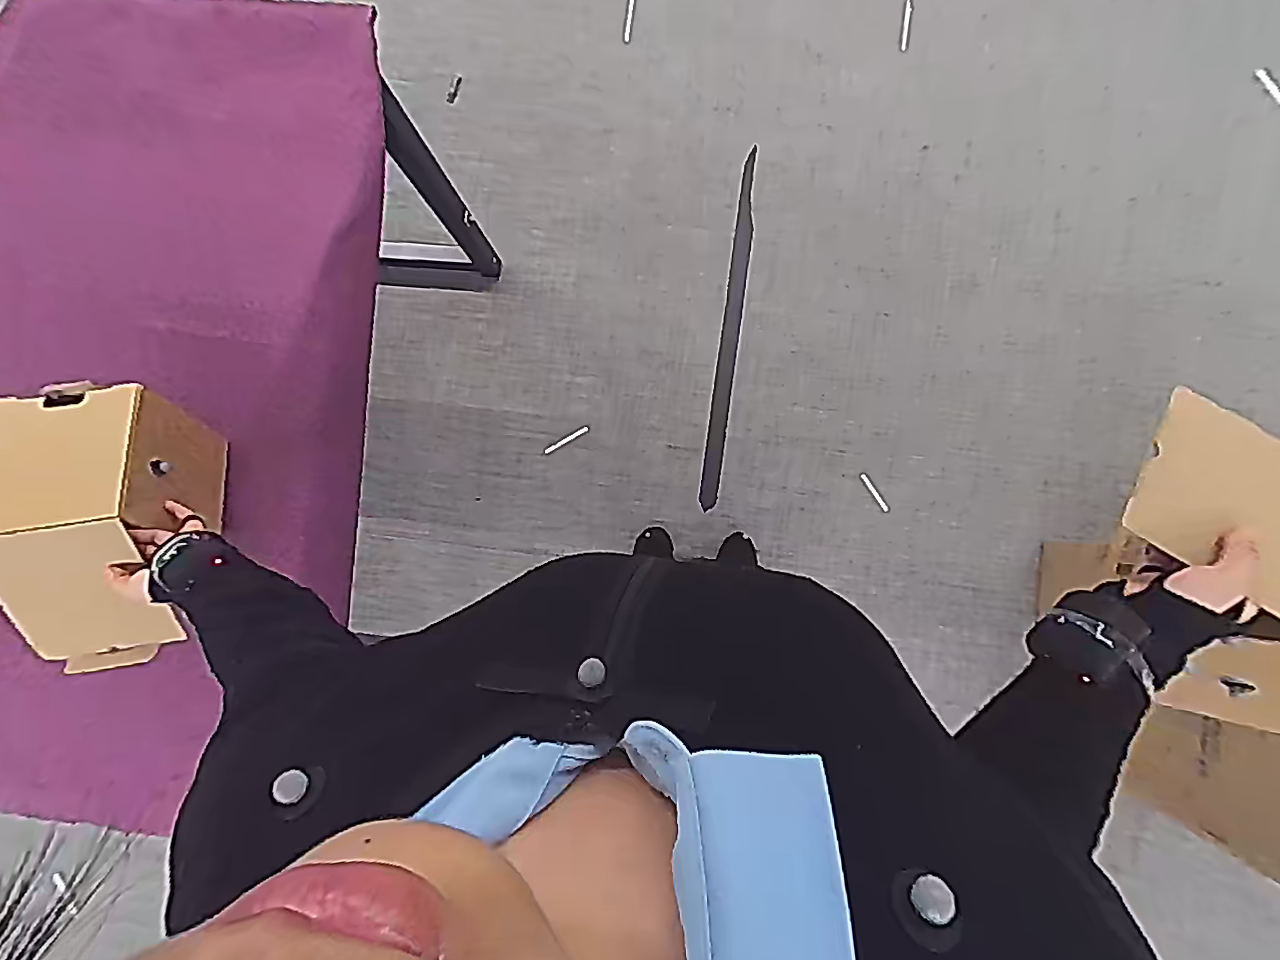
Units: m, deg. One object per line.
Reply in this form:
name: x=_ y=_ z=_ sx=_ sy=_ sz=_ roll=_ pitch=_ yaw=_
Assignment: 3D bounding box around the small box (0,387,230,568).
small box: x=-0.669 y=0.008 z=0.695 sx=0.168 sy=0.176 sz=0.179 roll=-10 pitch=69 yaw=-6
